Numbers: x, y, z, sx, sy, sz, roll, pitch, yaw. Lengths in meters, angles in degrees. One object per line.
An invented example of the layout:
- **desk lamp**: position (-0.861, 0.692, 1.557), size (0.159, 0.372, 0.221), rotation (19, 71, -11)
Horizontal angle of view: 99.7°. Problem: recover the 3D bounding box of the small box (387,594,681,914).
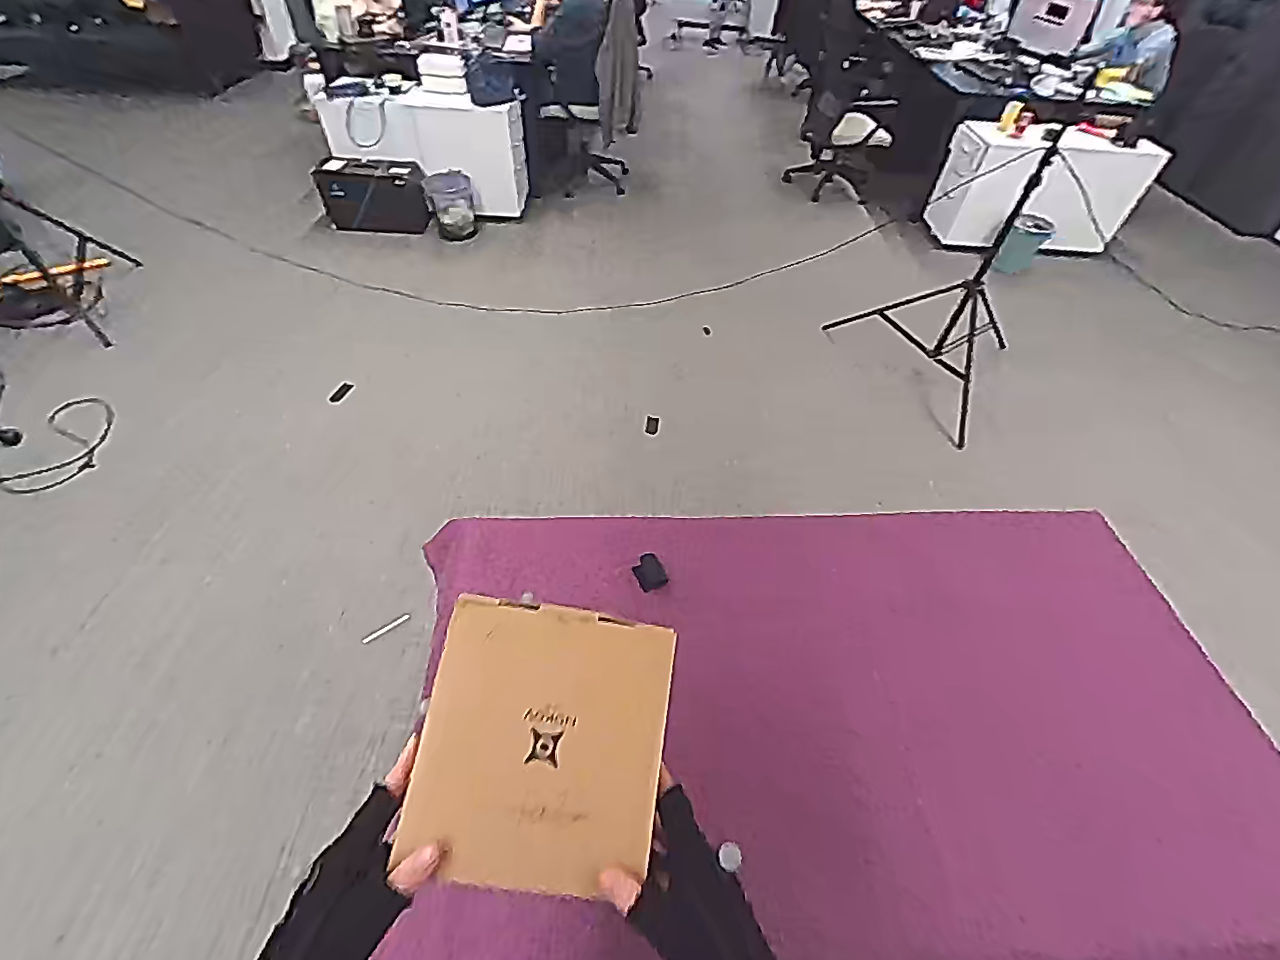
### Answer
- **small box**: position (-0.073, 0.201, 0.436), size (0.168, 0.176, 0.179), rotation (11, 72, -4)
